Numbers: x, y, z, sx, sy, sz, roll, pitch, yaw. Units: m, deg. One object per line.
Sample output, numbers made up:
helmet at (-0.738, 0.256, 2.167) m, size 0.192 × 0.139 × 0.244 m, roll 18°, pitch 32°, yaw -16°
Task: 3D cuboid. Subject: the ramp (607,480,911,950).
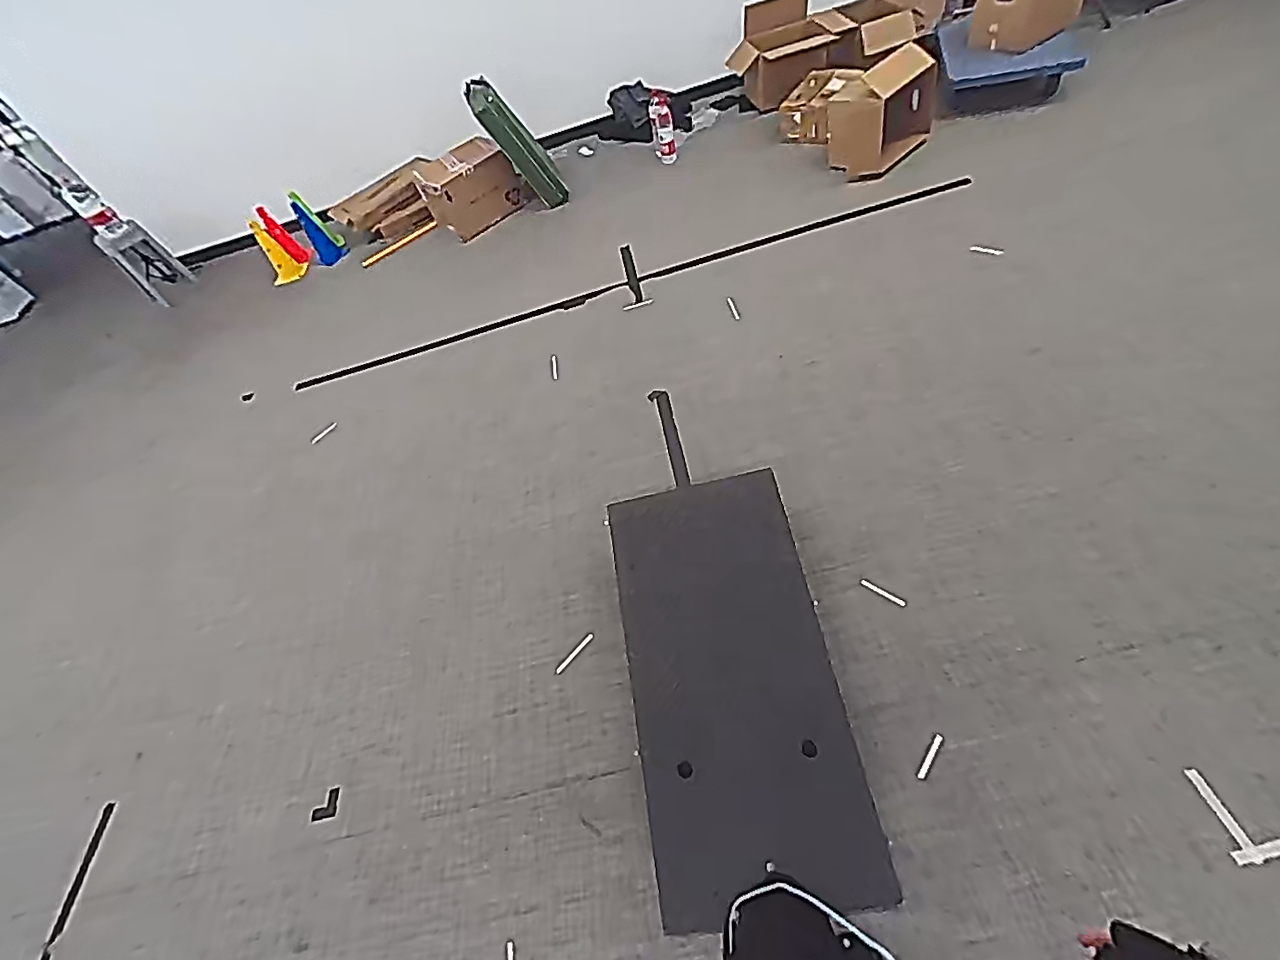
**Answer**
ramp at (0.226, 0.487, 1.338) m, size 0.509 × 0.206 × 0.991 m, roll -16°, pitch 50°, yaw 4°
